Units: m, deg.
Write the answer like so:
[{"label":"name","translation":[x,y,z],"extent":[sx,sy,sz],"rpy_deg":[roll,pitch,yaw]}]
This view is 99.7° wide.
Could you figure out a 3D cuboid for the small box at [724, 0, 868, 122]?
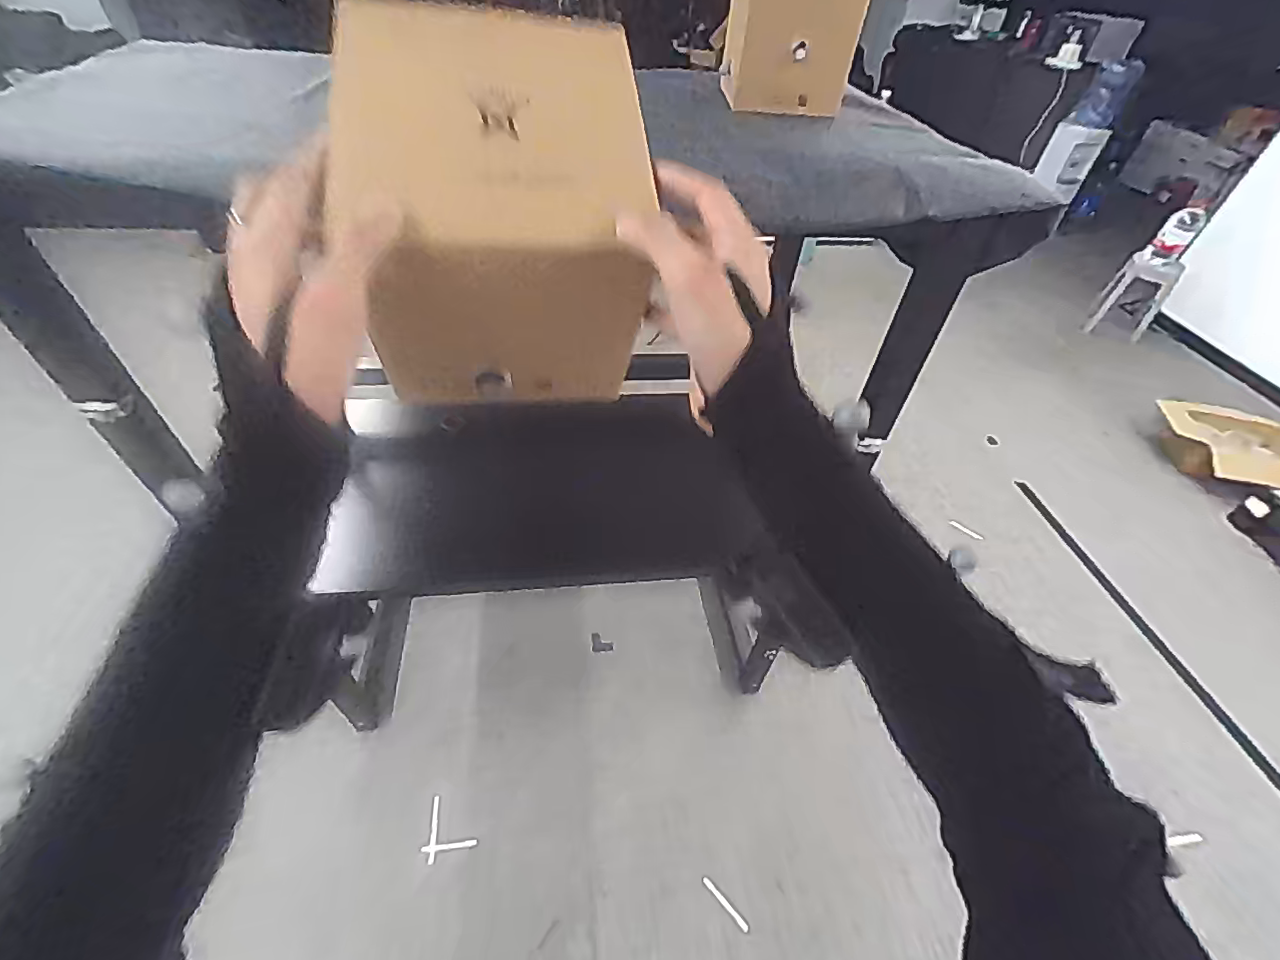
[{"label":"small box","translation":[0.232,-0.675,0.837],"extent":[0.168,0.176,0.179],"rpy_deg":[2,47,-3]}]

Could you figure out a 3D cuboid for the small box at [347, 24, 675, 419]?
[{"label":"small box","translation":[-0.086,-0.158,0.376],"extent":[0.168,0.176,0.179],"rpy_deg":[-3,70,-13]}]
